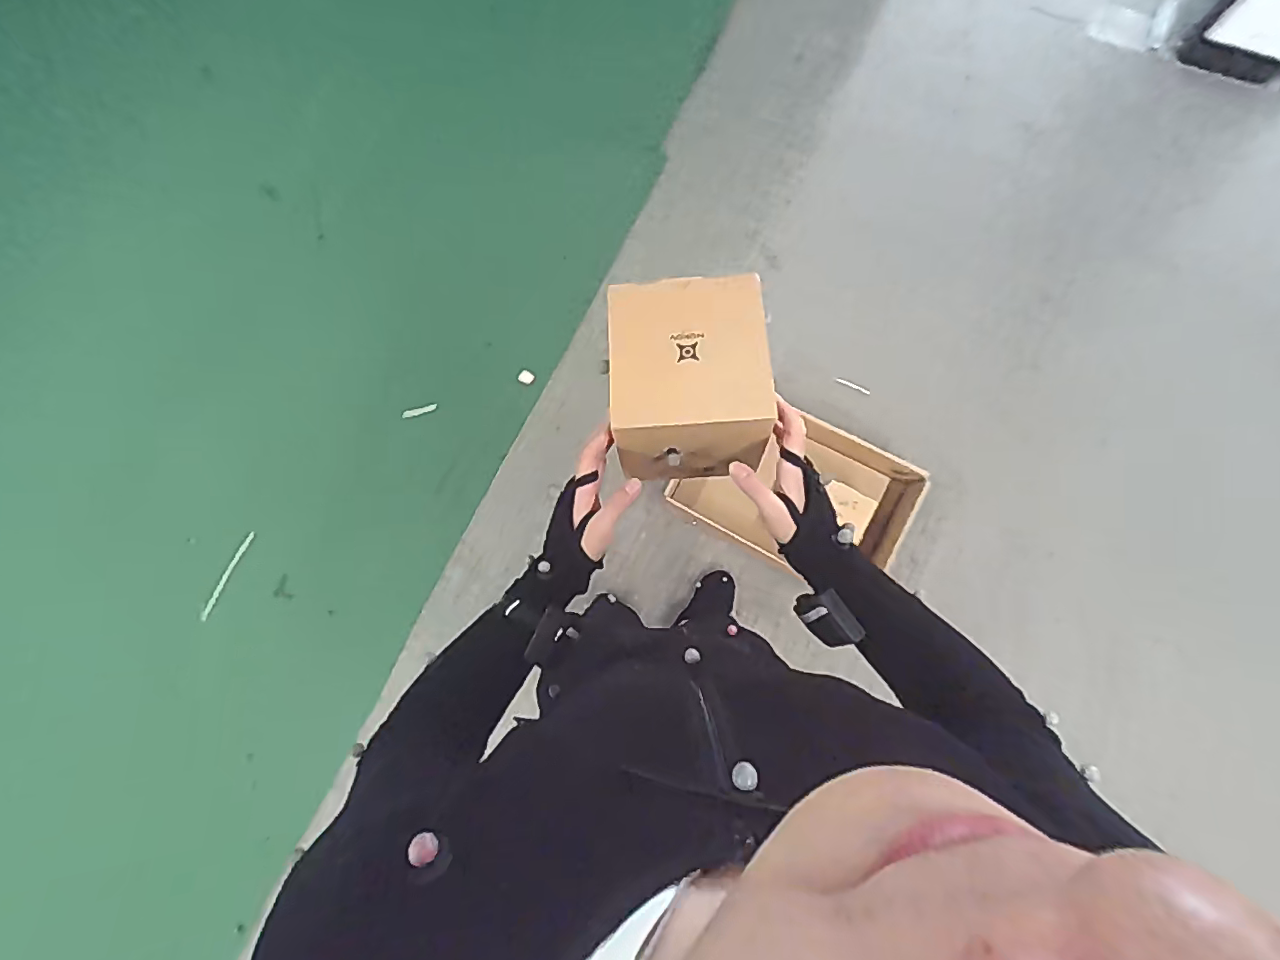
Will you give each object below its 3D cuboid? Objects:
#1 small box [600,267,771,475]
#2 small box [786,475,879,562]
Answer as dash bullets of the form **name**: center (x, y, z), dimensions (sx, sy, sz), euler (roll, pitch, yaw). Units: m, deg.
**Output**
- **small box**: center (0.049, -0.111, 0.619), dimensions (0.168, 0.176, 0.179), euler (-4, 70, 3)
- **small box**: center (0.516, 0.110, 1.483), dimensions (0.168, 0.176, 0.179), euler (30, 85, 9)
